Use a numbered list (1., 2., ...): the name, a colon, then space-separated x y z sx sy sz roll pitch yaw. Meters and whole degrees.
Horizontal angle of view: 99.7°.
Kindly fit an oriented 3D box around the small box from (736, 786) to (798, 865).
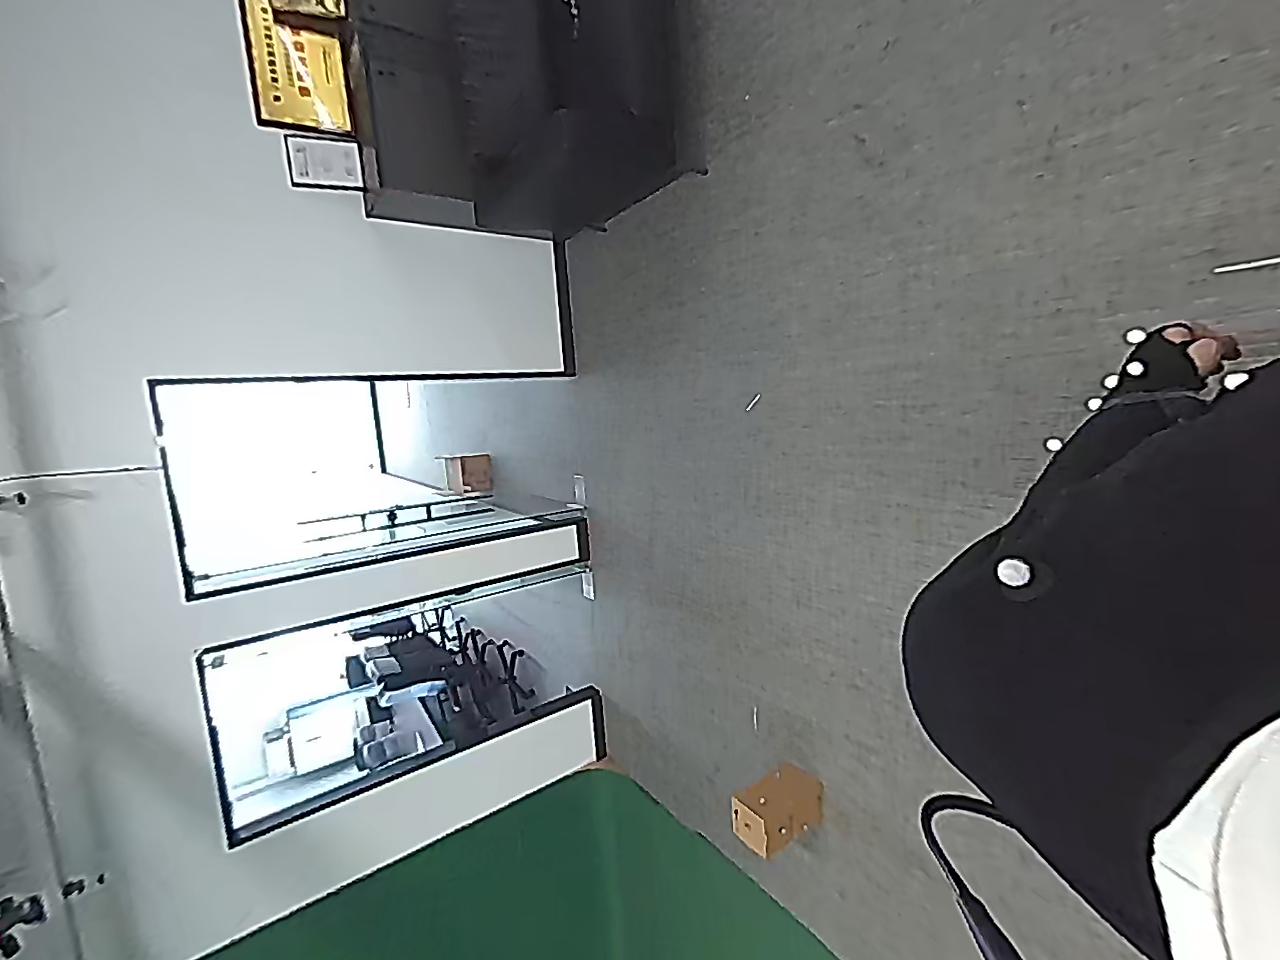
1. small box: 0.500 1.339 2.115 0.179 0.176 0.168 7 102 55
